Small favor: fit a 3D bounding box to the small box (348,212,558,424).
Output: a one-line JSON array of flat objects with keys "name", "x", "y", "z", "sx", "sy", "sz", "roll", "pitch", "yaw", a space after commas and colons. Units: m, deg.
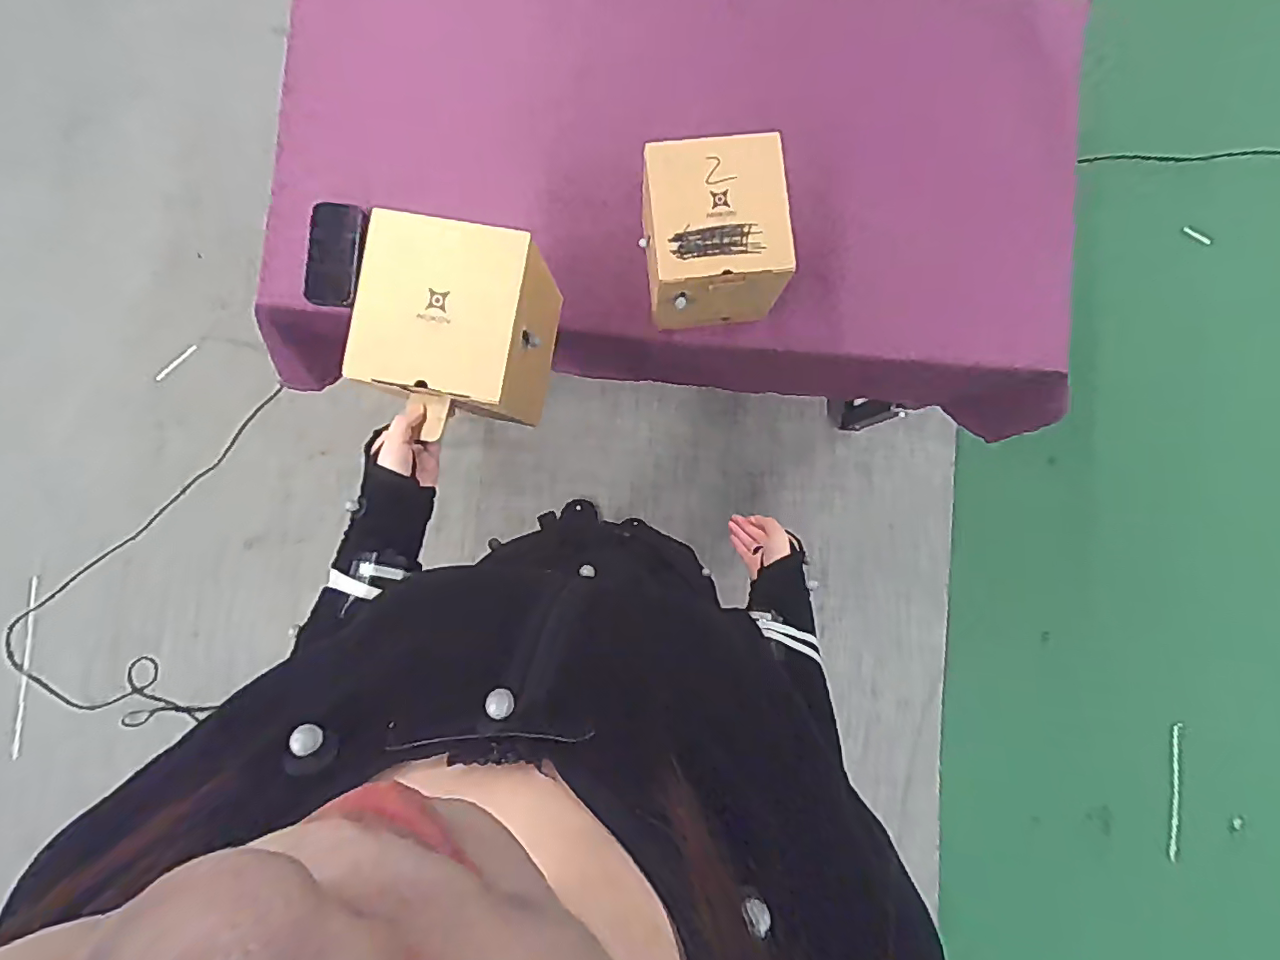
[{"name": "small box", "x": -0.199, "y": -0.173, "z": 0.627, "sx": 0.168, "sy": 0.176, "sz": 0.179, "roll": 11, "pitch": 90, "yaw": 2}]
